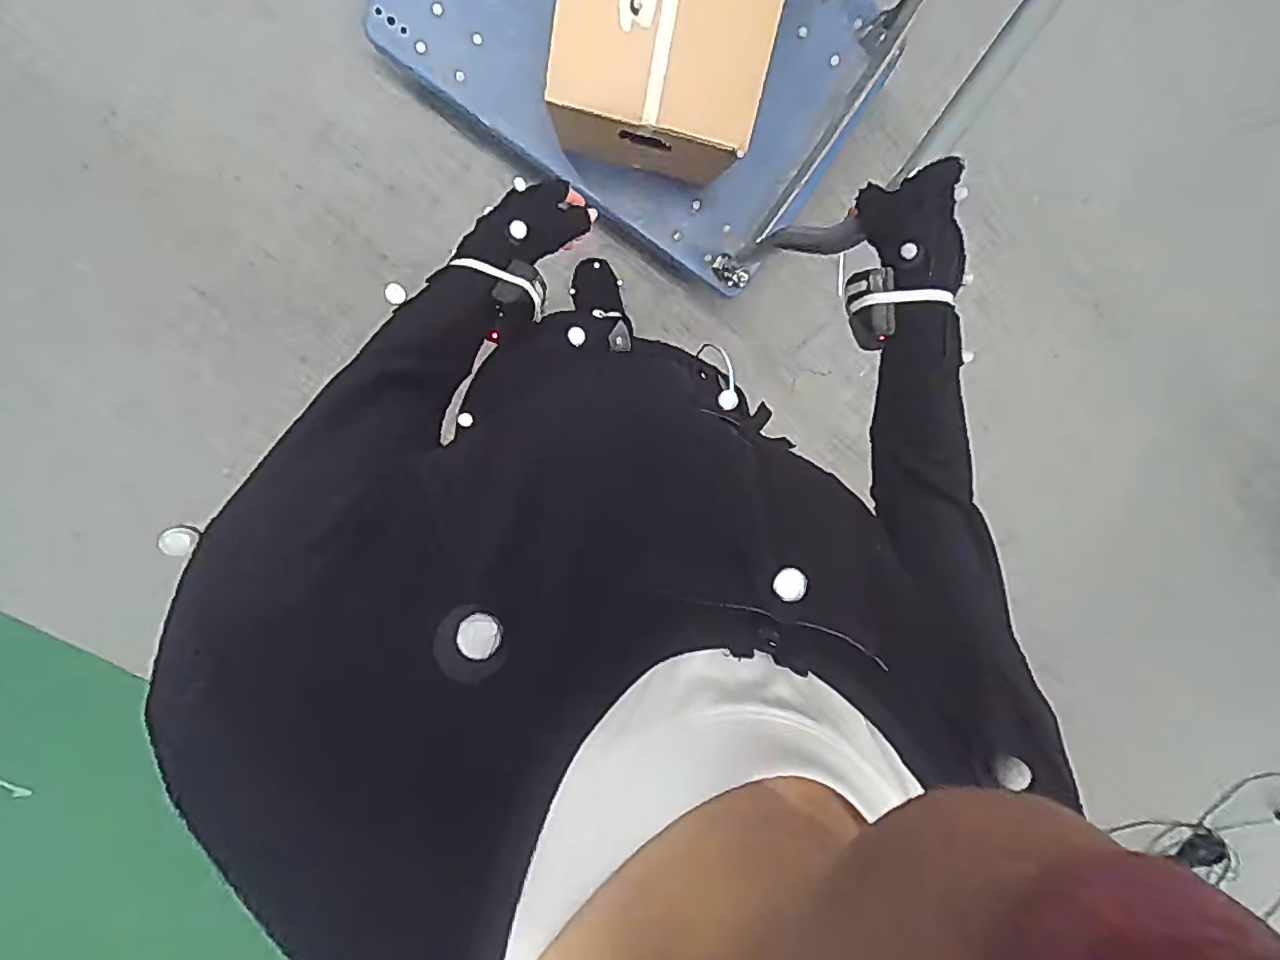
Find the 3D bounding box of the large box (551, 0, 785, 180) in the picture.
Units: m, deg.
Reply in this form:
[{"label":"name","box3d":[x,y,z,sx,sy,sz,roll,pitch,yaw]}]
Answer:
[{"label":"large box","box3d":[0.046,-0.764,0.878,0.320,0.320,0.408,10,110,-7]}]
